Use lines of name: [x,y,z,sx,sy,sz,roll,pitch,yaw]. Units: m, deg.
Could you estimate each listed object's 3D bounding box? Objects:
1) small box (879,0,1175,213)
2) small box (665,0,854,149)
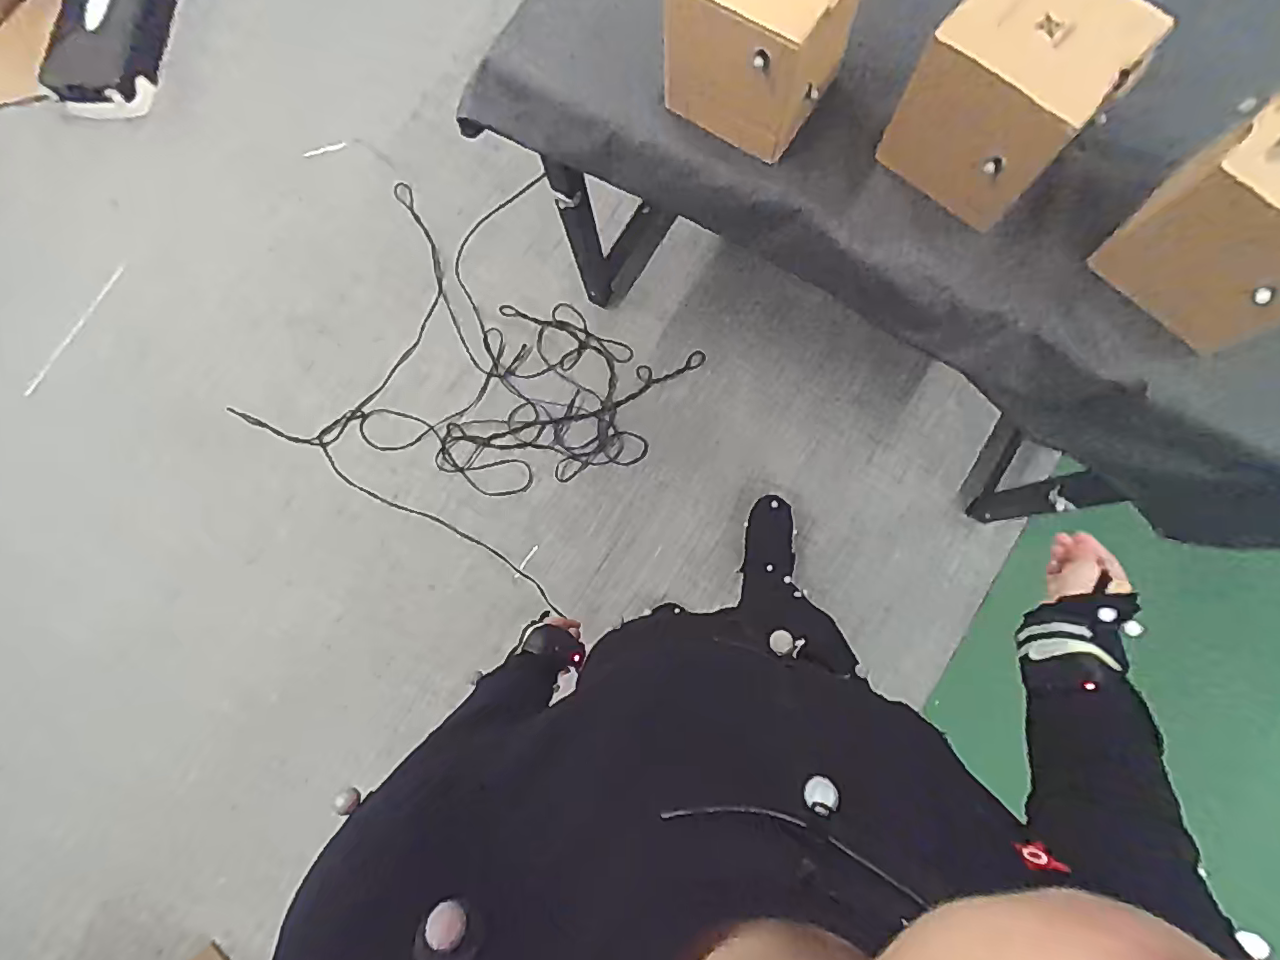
small box: [0.415,-0.444,0.617,0.179,0.176,0.168,42,85,11]
small box: [0.141,-0.550,0.654,0.179,0.176,0.168,33,83,8]
